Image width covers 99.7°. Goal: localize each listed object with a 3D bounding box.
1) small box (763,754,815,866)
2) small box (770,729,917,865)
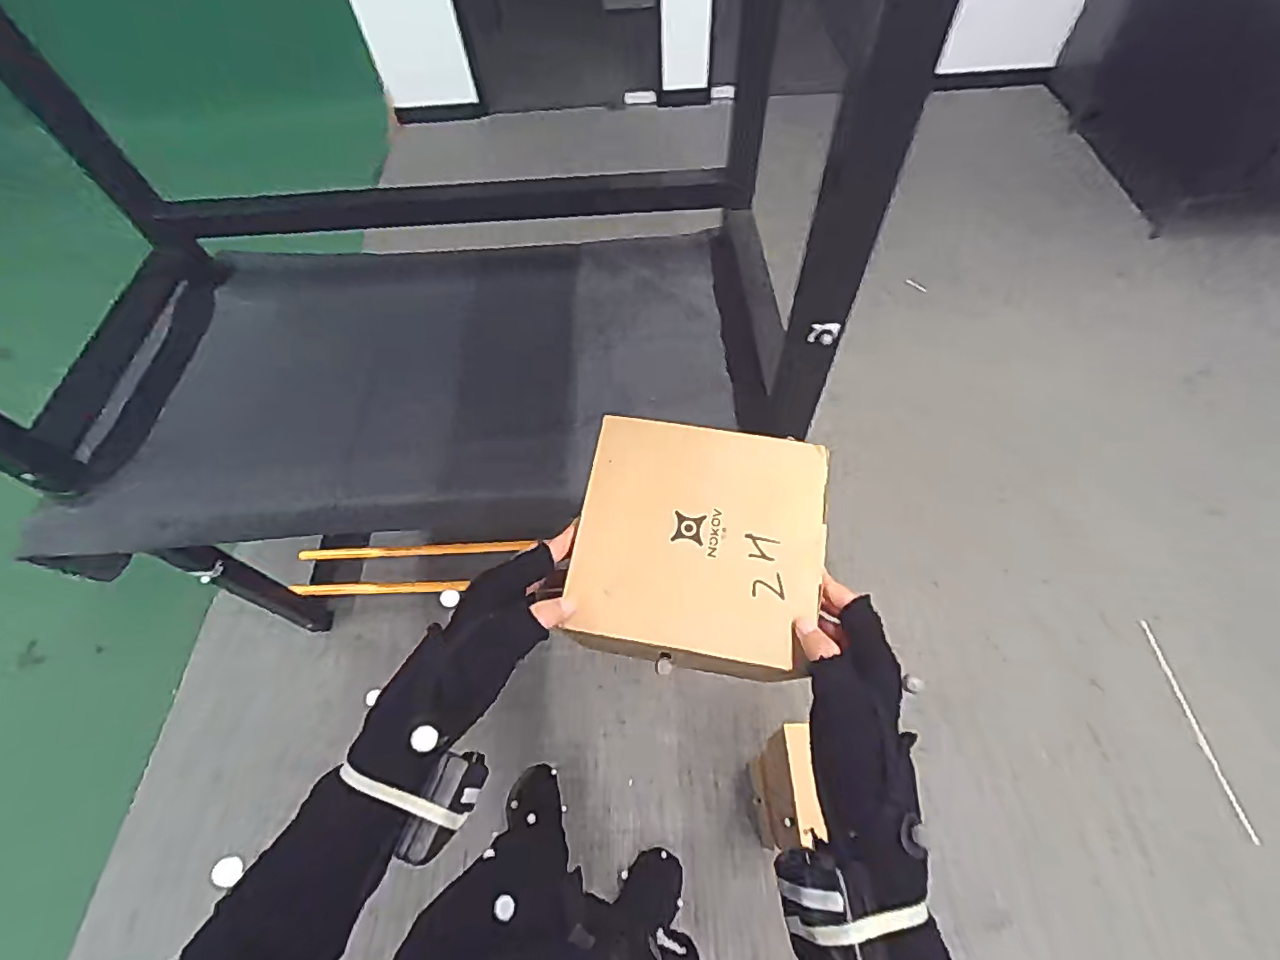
[{"bbox_3d":[0.335,0.605,1.010,0.168,0.176,0.179,-5,57,0],"label":"small box"},{"bbox_3d":[0.313,0.513,0.876,0.168,0.176,0.179,-3,58,2],"label":"small box"}]
